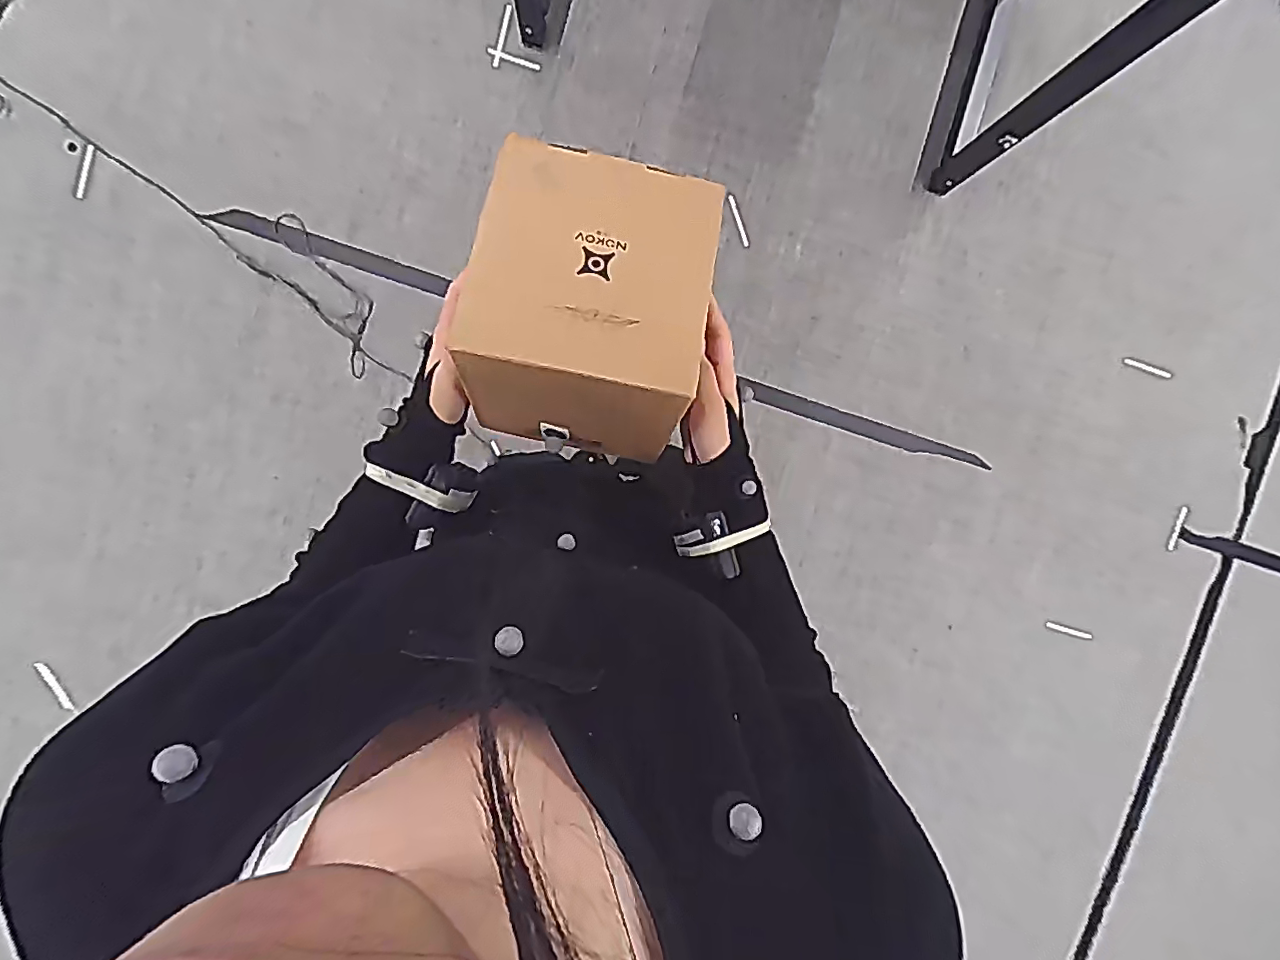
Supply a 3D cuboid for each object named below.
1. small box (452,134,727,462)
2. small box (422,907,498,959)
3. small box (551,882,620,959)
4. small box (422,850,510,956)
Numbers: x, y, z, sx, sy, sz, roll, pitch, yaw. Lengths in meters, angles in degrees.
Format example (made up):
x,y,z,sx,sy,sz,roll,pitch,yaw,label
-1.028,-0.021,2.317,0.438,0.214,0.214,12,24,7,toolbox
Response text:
x,y,z,sx,sy,sz,roll,pitch,yaw,label
-0.038,-0.131,0.446,0.168,0.176,0.179,10,76,-5,small box
-0.453,1.195,1.317,0.168,0.176,0.179,16,95,-6,small box
-0.155,1.269,1.516,0.179,0.176,0.168,4,94,-6,small box
-0.467,1.171,1.479,0.168,0.176,0.179,19,93,-7,small box
